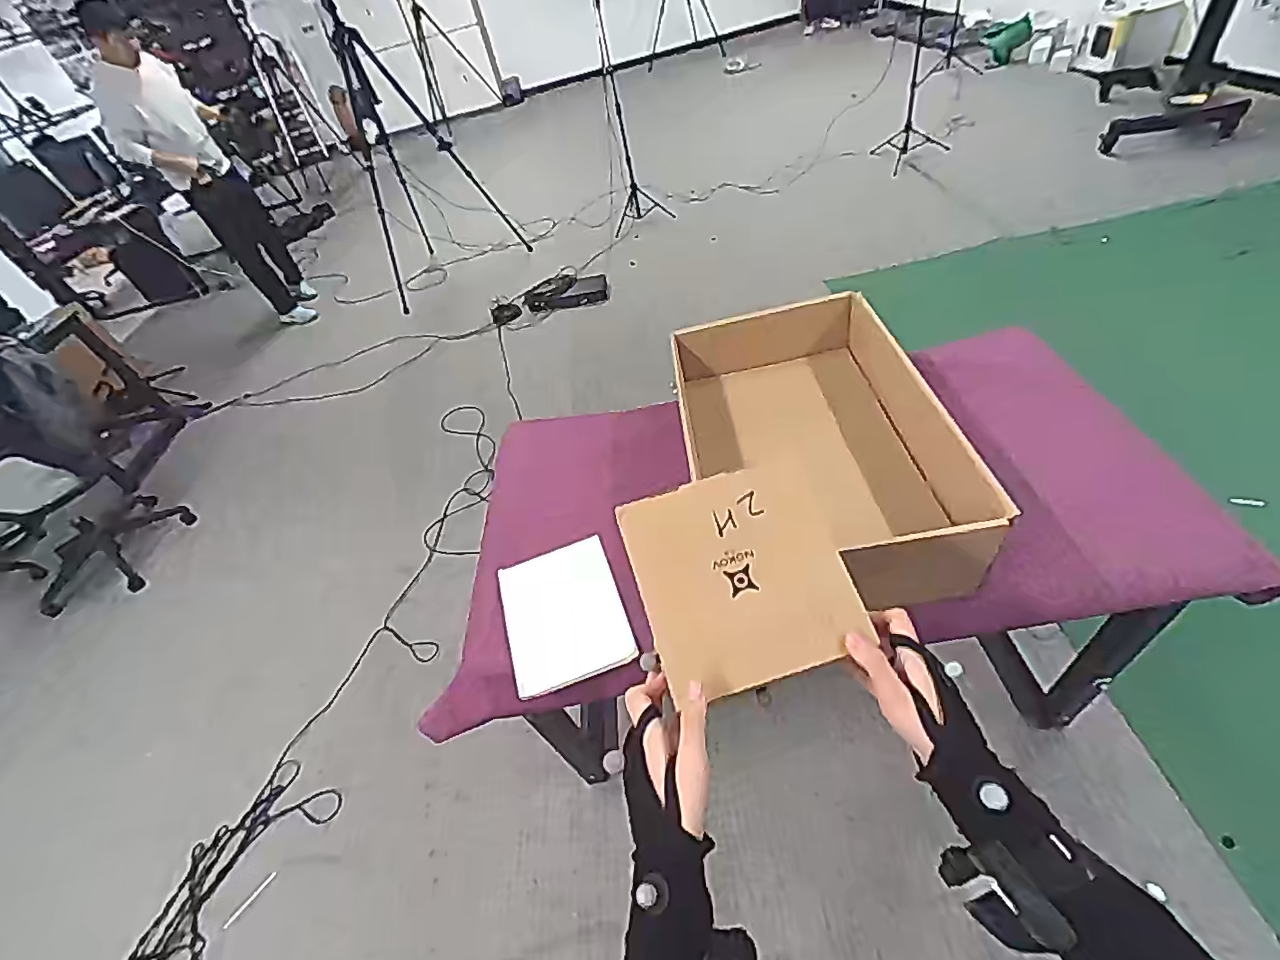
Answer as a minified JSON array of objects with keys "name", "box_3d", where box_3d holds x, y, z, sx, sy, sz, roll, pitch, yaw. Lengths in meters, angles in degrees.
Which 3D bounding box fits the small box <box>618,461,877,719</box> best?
[{"name":"small box","box_3d":[0.089,0.113,0.511,0.168,0.176,0.179,-17,64,-2]}]
